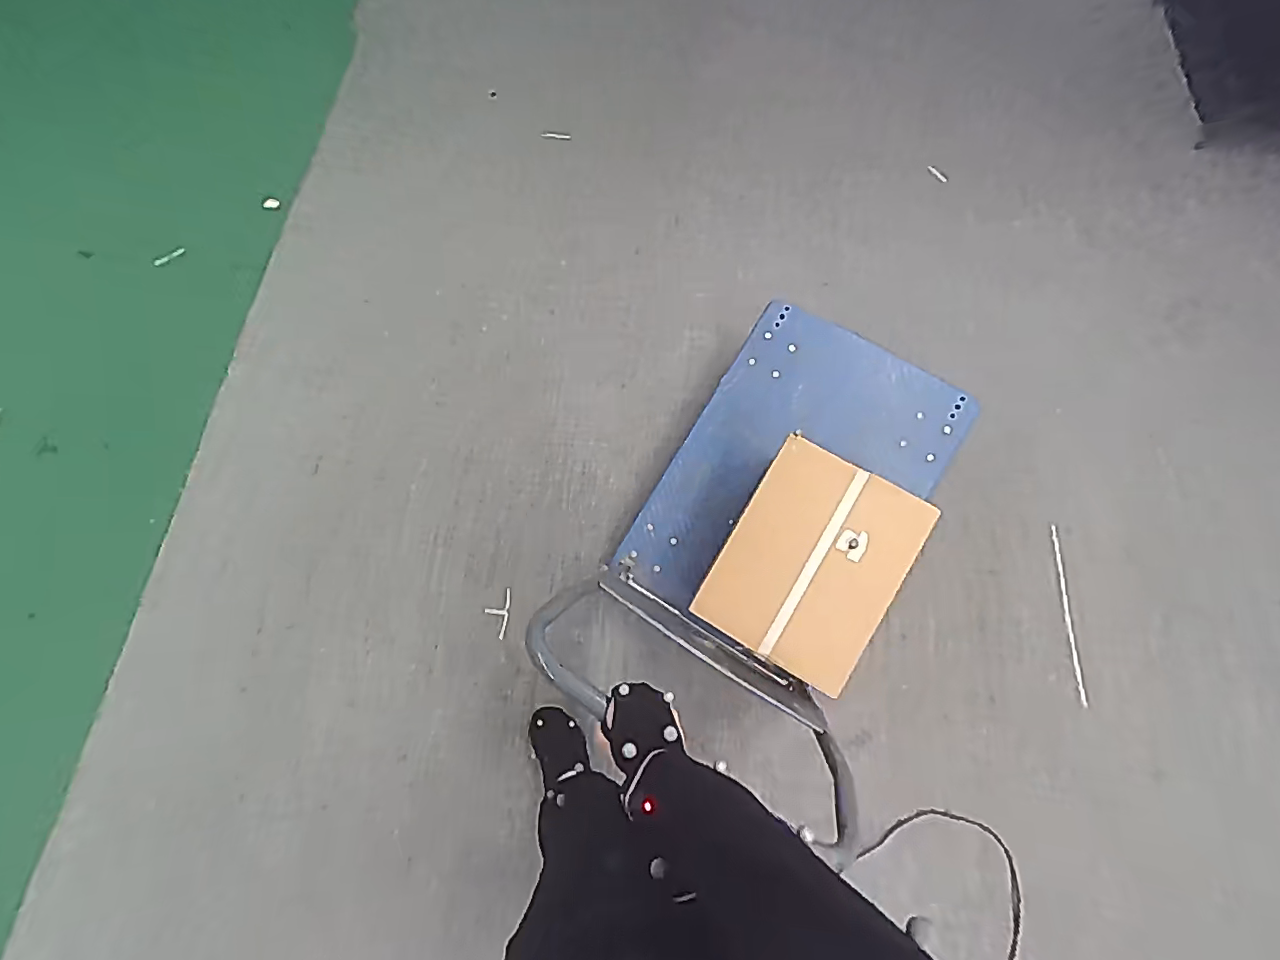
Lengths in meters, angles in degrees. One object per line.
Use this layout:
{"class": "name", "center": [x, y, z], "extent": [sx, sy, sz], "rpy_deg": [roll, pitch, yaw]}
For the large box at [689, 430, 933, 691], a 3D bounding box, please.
{"class": "large box", "center": [0.339, 0.167, 1.167], "extent": [0.320, 0.320, 0.408], "rpy_deg": [31, 87, 10]}
